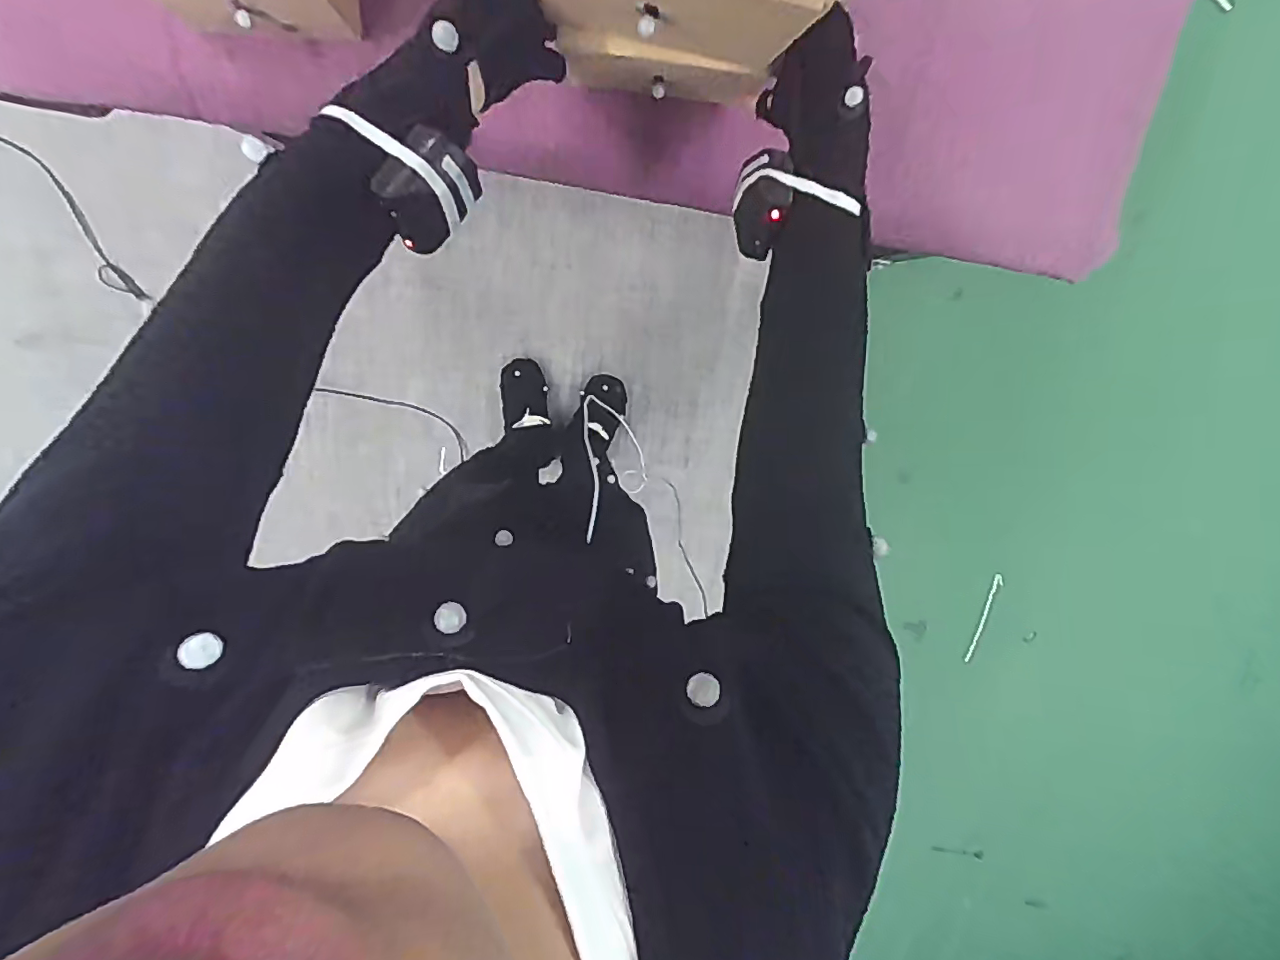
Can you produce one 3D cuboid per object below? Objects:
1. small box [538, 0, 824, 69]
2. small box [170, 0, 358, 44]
[{"bbox_3d":[0.028,-0.372,0.321,0.179,0.176,0.168,10,117,-5],"label":"small box"},{"bbox_3d":[-0.352,-0.505,0.440,0.168,0.176,0.179,1,107,-5],"label":"small box"}]
